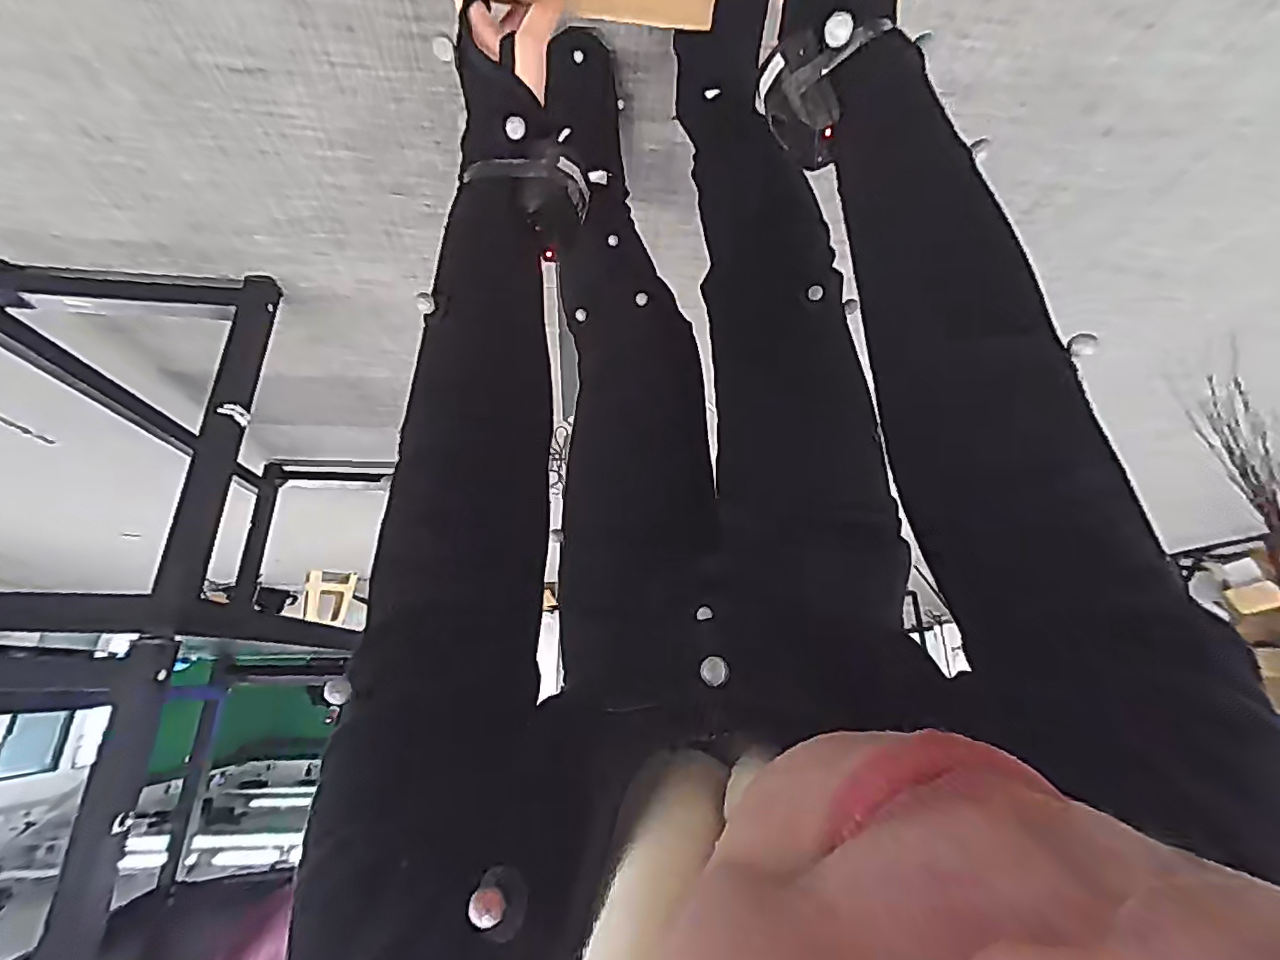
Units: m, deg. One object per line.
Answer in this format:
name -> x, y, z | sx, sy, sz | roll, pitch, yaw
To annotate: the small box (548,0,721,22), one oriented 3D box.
small box -> -0.018, -0.446, 0.340 | 0.179, 0.176, 0.168 | 6, 162, -3
